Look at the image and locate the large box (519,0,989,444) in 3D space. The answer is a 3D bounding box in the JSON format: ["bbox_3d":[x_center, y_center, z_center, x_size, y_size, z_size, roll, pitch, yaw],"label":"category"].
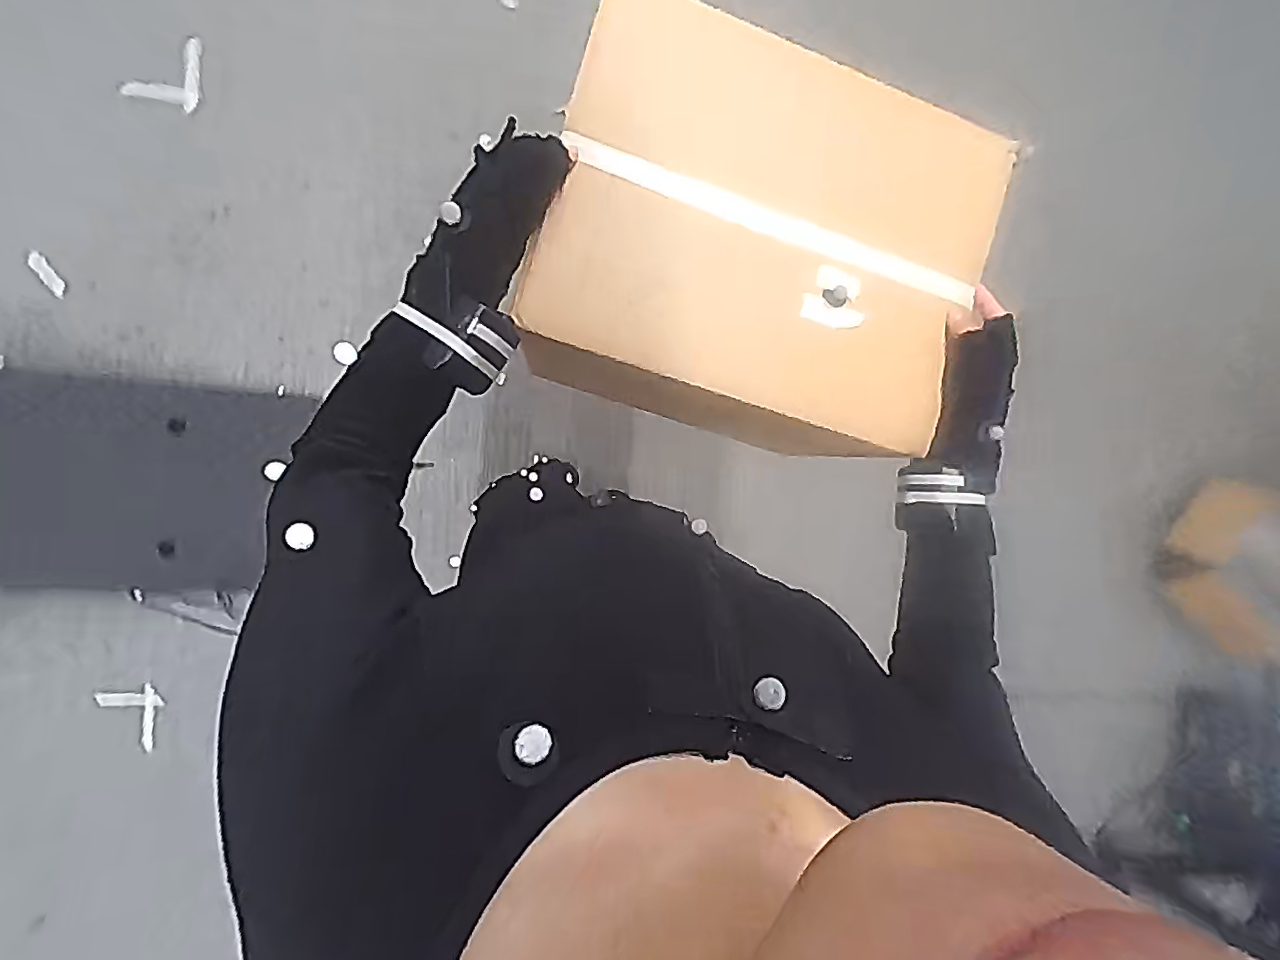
[{"bbox_3d":[0.093,-0.242,0.644,0.408,0.320,0.320,15,91,-10],"label":"large box"}]

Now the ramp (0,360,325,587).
[{"bbox_3d":[-1.280,-0.010,1.198,0.991,0.206,0.509,2,89,-10],"label":"ramp"}]
